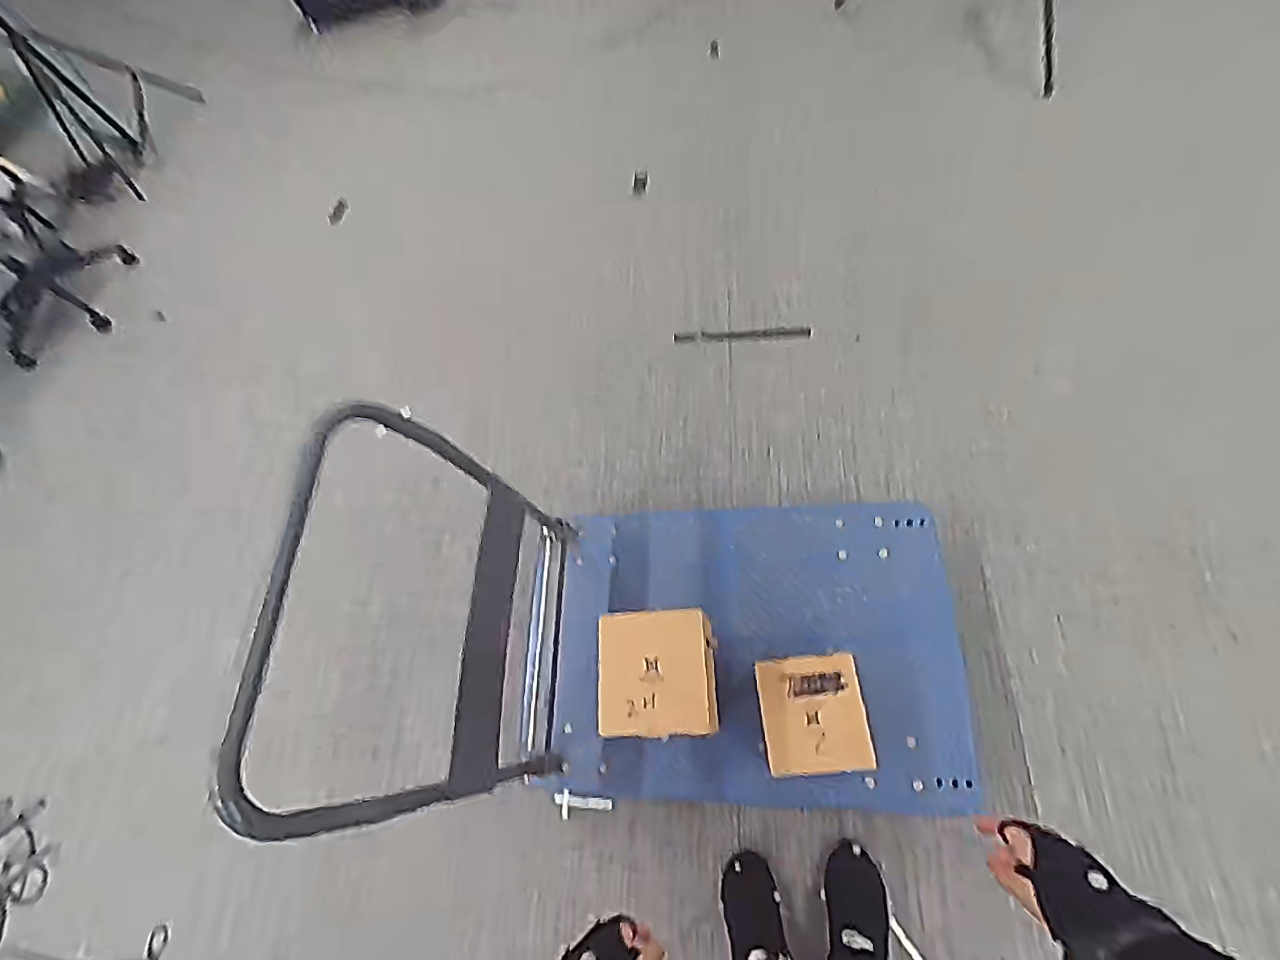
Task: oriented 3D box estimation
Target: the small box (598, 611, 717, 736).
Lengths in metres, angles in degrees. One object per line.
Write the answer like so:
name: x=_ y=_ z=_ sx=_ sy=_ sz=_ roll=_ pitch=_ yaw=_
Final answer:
small box: x=0.033 y=0.319 z=0.883 sx=0.168 sy=0.176 sz=0.179 roll=-6 pitch=67 yaw=10
